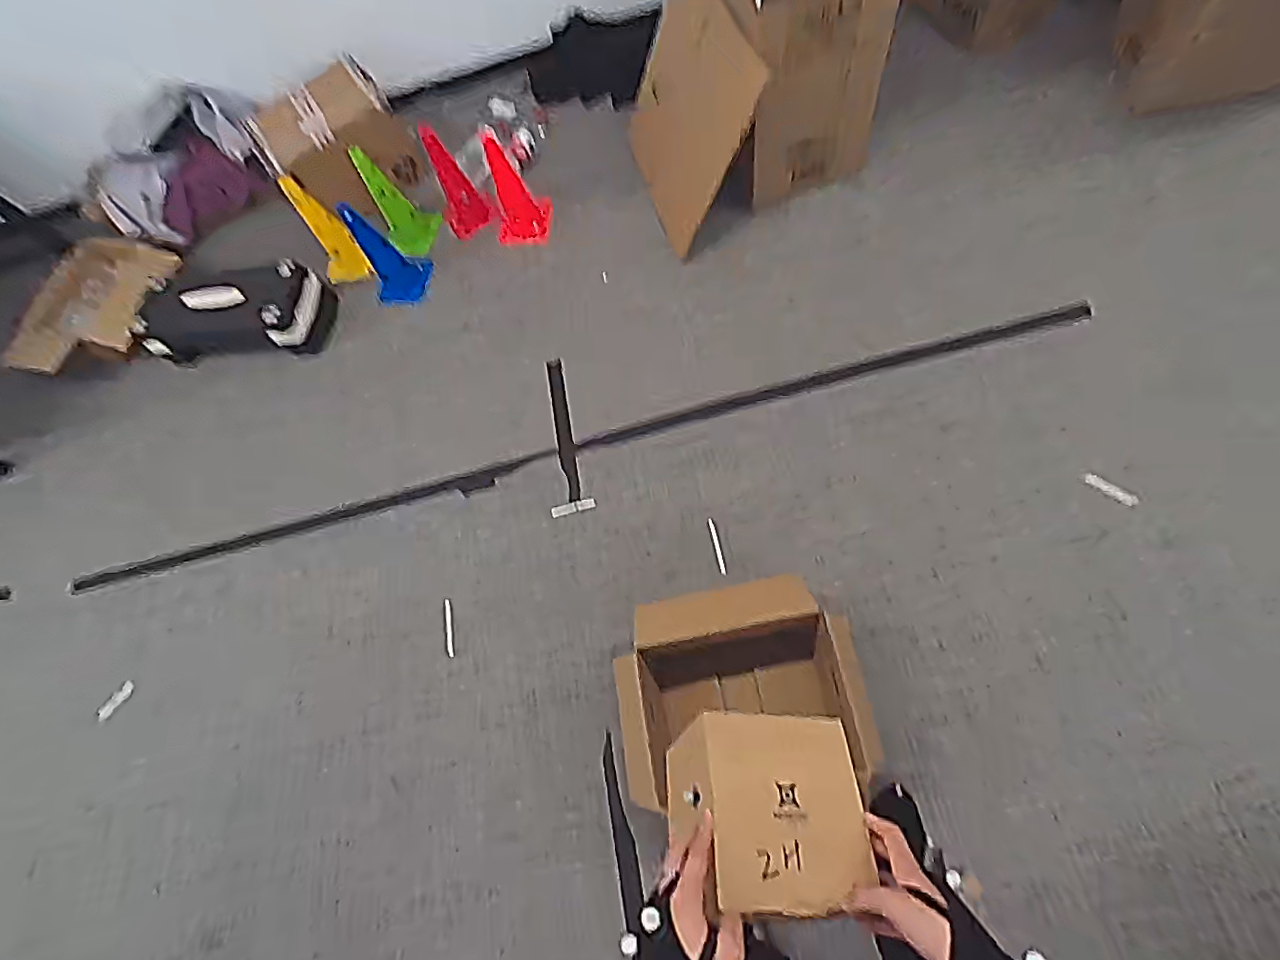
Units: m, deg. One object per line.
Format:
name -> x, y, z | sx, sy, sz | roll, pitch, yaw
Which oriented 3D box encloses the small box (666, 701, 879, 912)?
small box -> 0.127, 0.368, 0.606 | 0.168, 0.176, 0.179 | 7, 50, -9
